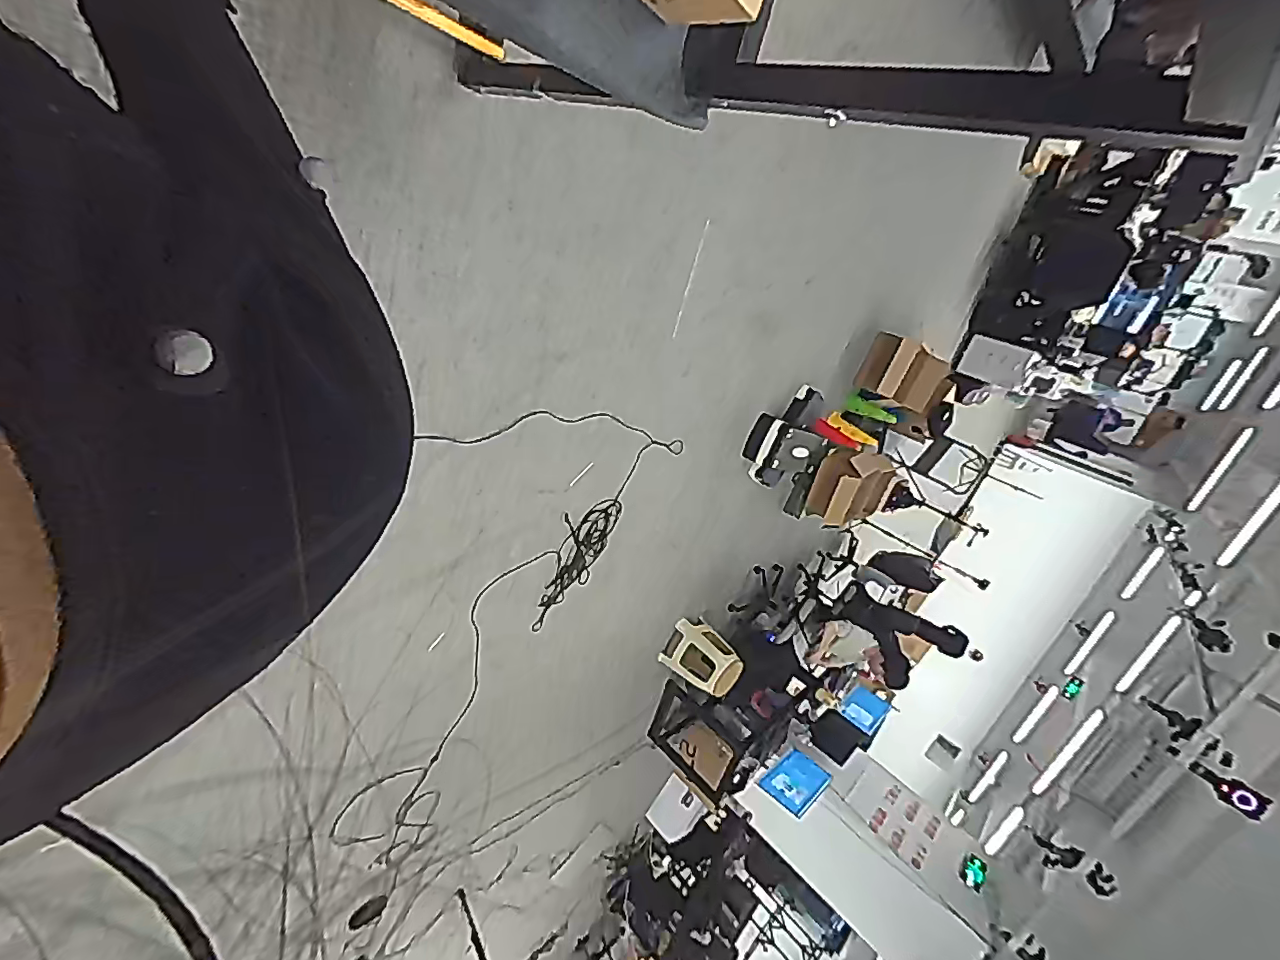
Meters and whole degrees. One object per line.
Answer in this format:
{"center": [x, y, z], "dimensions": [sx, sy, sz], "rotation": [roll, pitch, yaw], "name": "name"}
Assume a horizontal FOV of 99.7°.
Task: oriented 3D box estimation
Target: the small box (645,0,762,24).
{"center": [0.072, -0.731, 0.697], "dimensions": [0.168, 0.176, 0.179], "rotation": [-5, 120, -49], "name": "small box"}
